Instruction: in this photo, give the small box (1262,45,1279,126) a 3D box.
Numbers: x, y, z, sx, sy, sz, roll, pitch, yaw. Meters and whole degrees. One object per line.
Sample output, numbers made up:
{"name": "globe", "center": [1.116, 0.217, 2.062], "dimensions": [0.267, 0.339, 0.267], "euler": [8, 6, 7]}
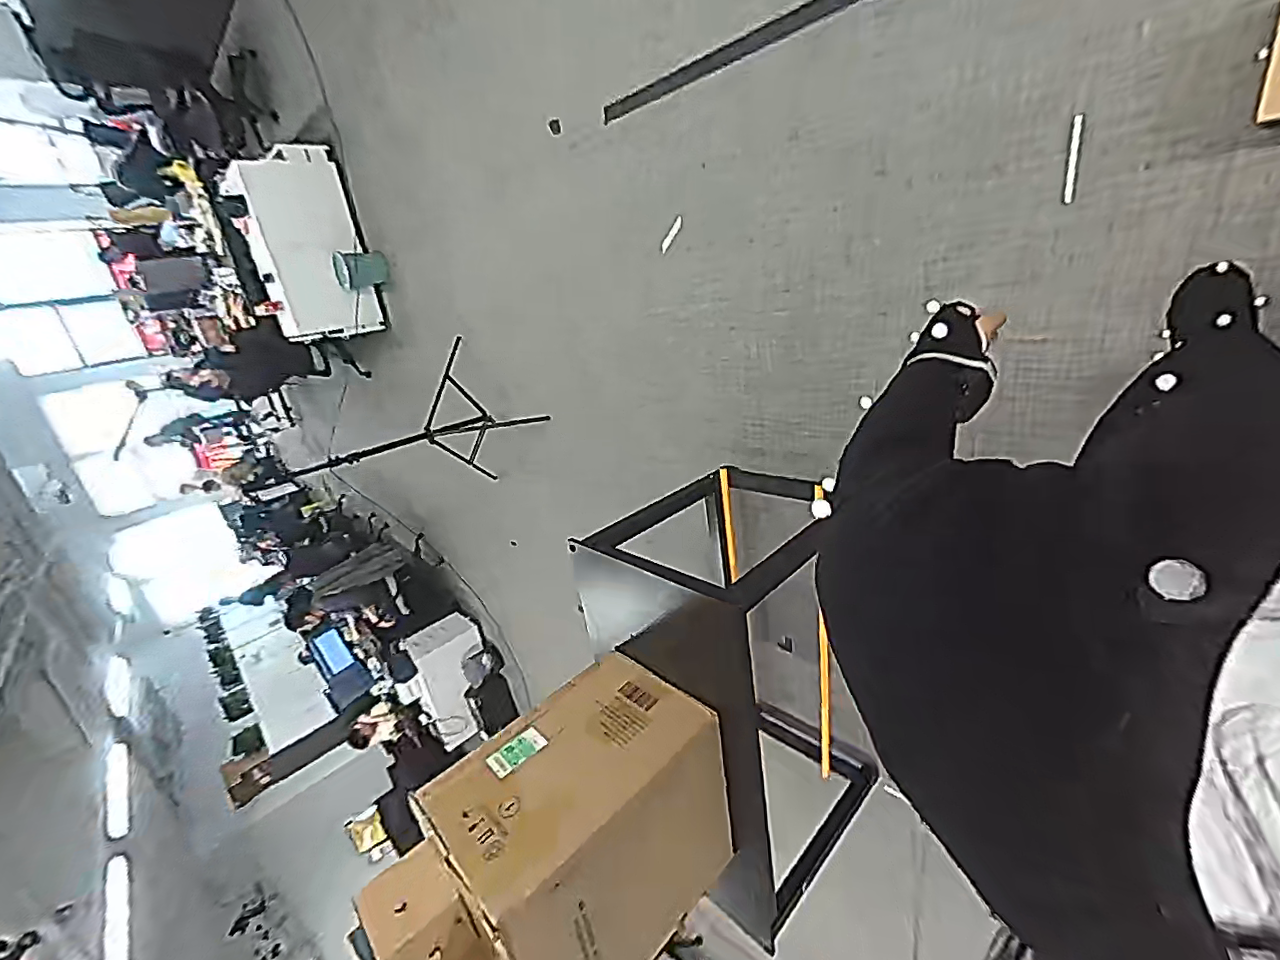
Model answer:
{"name": "small box", "center": [1.010, -0.615, 0.751], "dimensions": [0.168, 0.176, 0.179], "euler": [15, 122, 46]}
